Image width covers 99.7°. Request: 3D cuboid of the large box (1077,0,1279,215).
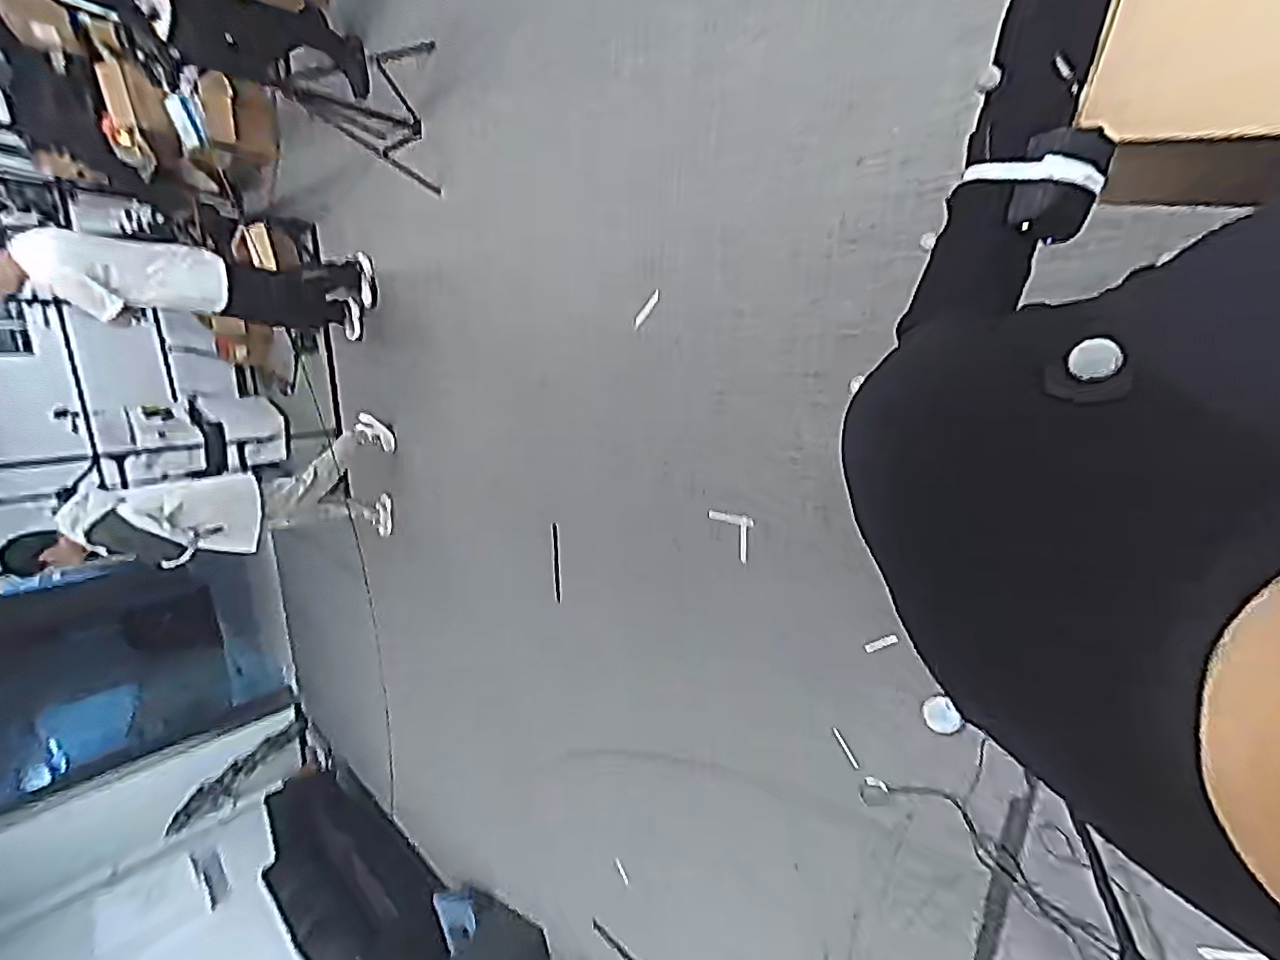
[{"bbox_3d":[0.576,-0.361,0.345,0.408,0.320,0.320,21,116,34],"label":"large box"}]
